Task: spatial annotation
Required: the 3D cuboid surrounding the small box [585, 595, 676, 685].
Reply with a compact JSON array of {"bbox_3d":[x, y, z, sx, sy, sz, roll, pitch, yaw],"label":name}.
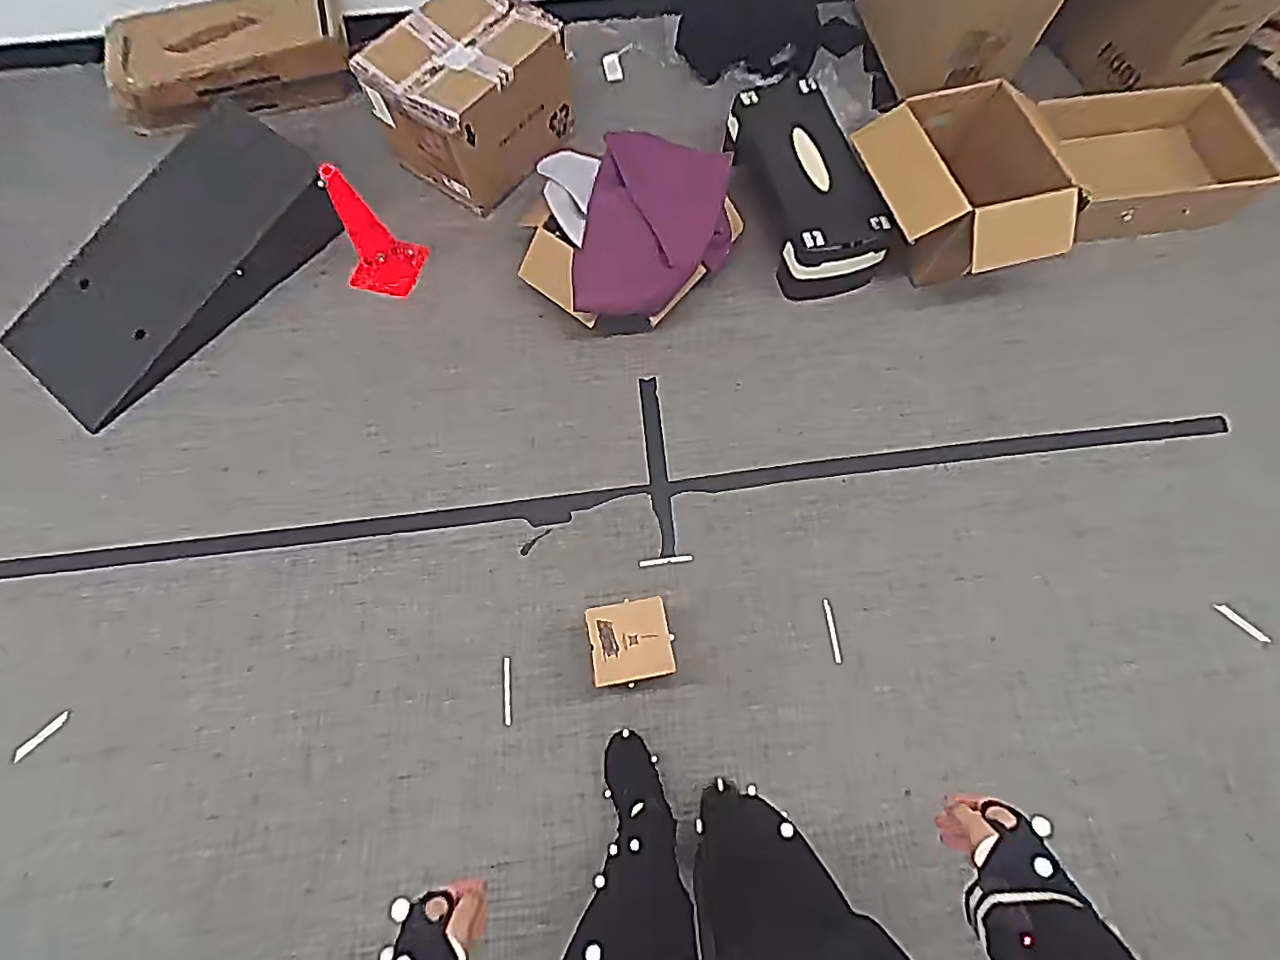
[{"bbox_3d":[-0.021,0.369,1.238,0.179,0.176,0.168,-10,71,-4],"label":"small box"}]
